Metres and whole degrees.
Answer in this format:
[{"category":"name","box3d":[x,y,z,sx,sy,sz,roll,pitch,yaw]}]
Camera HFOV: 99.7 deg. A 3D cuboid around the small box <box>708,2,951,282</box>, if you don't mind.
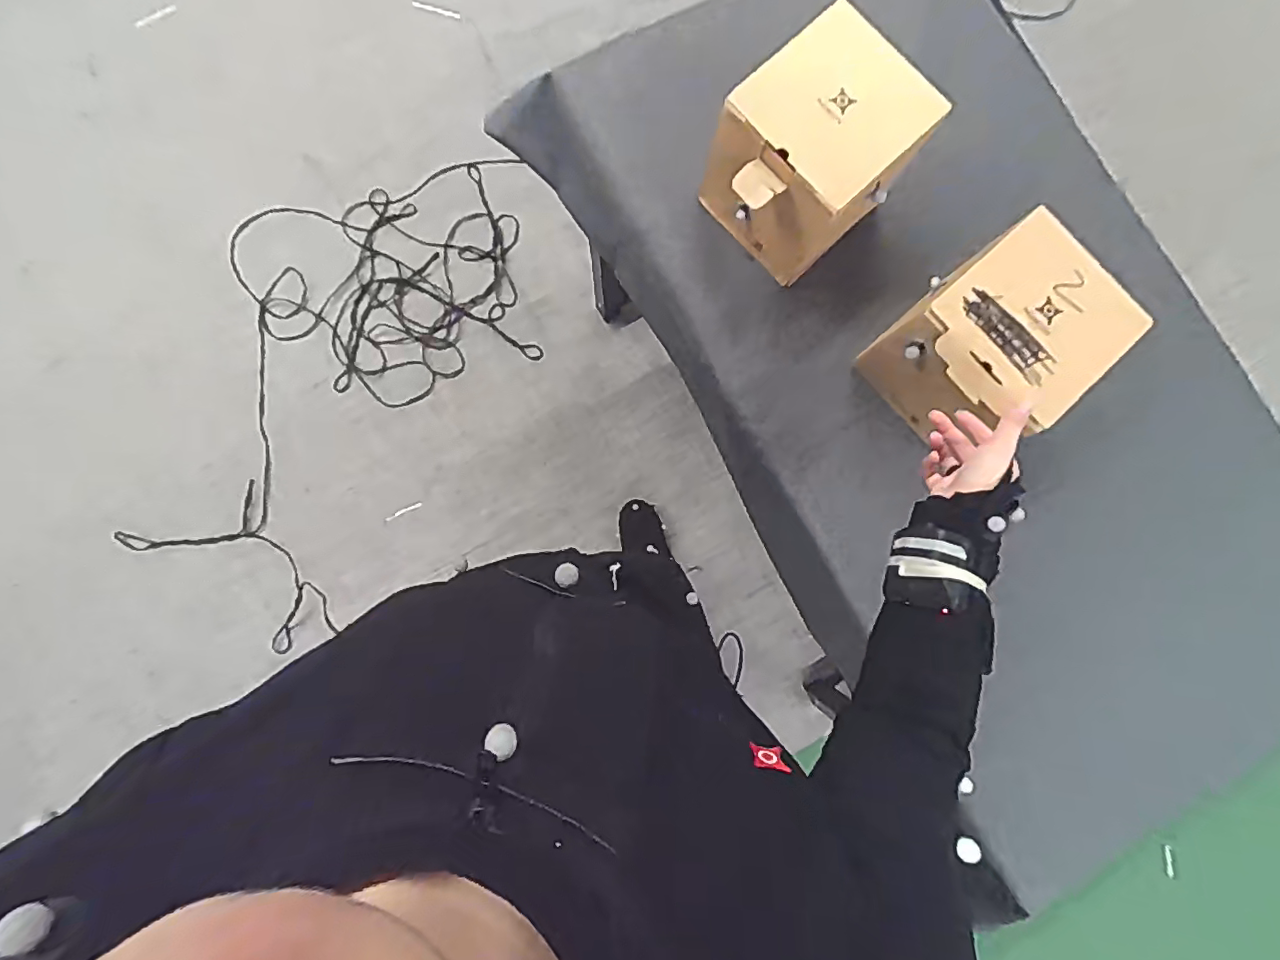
[{"category":"small box","box3d":[0.200,-0.373,0.628,0.179,0.176,0.168,-43,88,-5]}]
